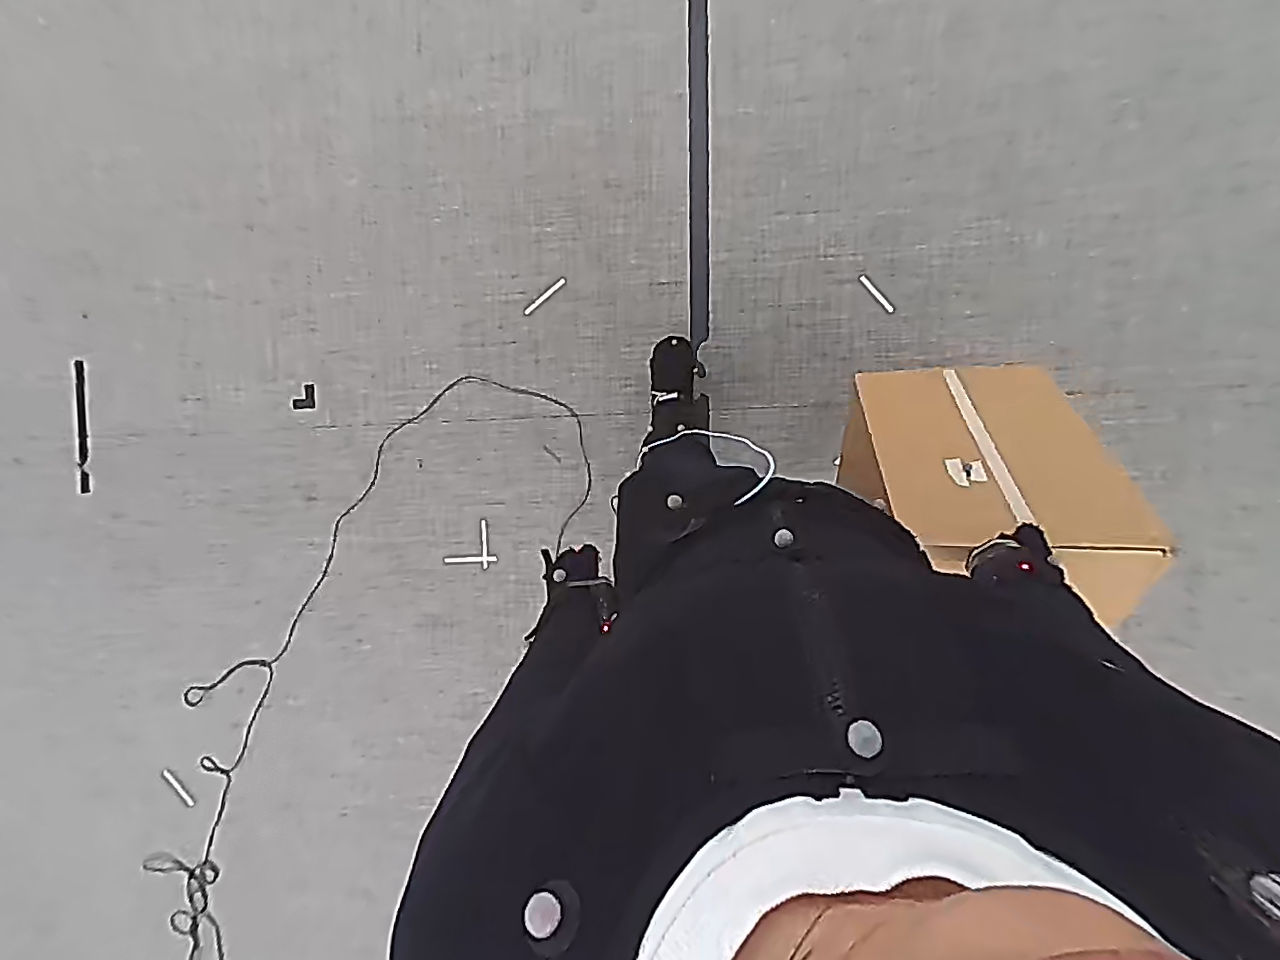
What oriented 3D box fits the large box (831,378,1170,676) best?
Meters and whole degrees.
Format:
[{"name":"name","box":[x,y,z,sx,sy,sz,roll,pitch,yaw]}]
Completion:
[{"name":"large box","box":[0.530,0.067,0.919,0.320,0.408,0.320,-1,133,10]}]
